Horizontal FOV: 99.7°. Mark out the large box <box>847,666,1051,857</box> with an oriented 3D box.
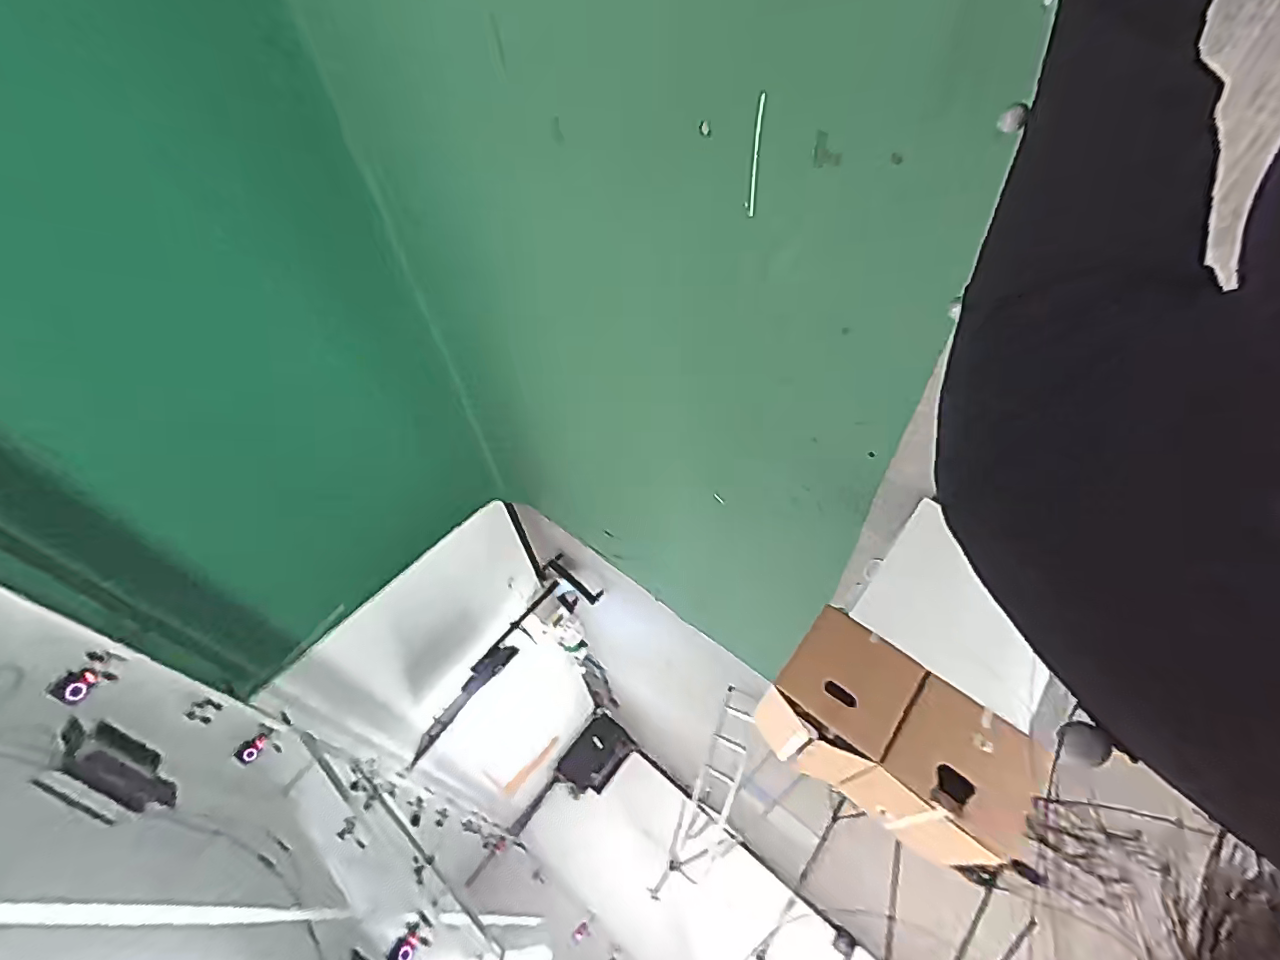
[{"bbox_3d":[0.838,0.787,1.507,0.320,0.320,0.408,35,153,24],"label":"large box"}]
